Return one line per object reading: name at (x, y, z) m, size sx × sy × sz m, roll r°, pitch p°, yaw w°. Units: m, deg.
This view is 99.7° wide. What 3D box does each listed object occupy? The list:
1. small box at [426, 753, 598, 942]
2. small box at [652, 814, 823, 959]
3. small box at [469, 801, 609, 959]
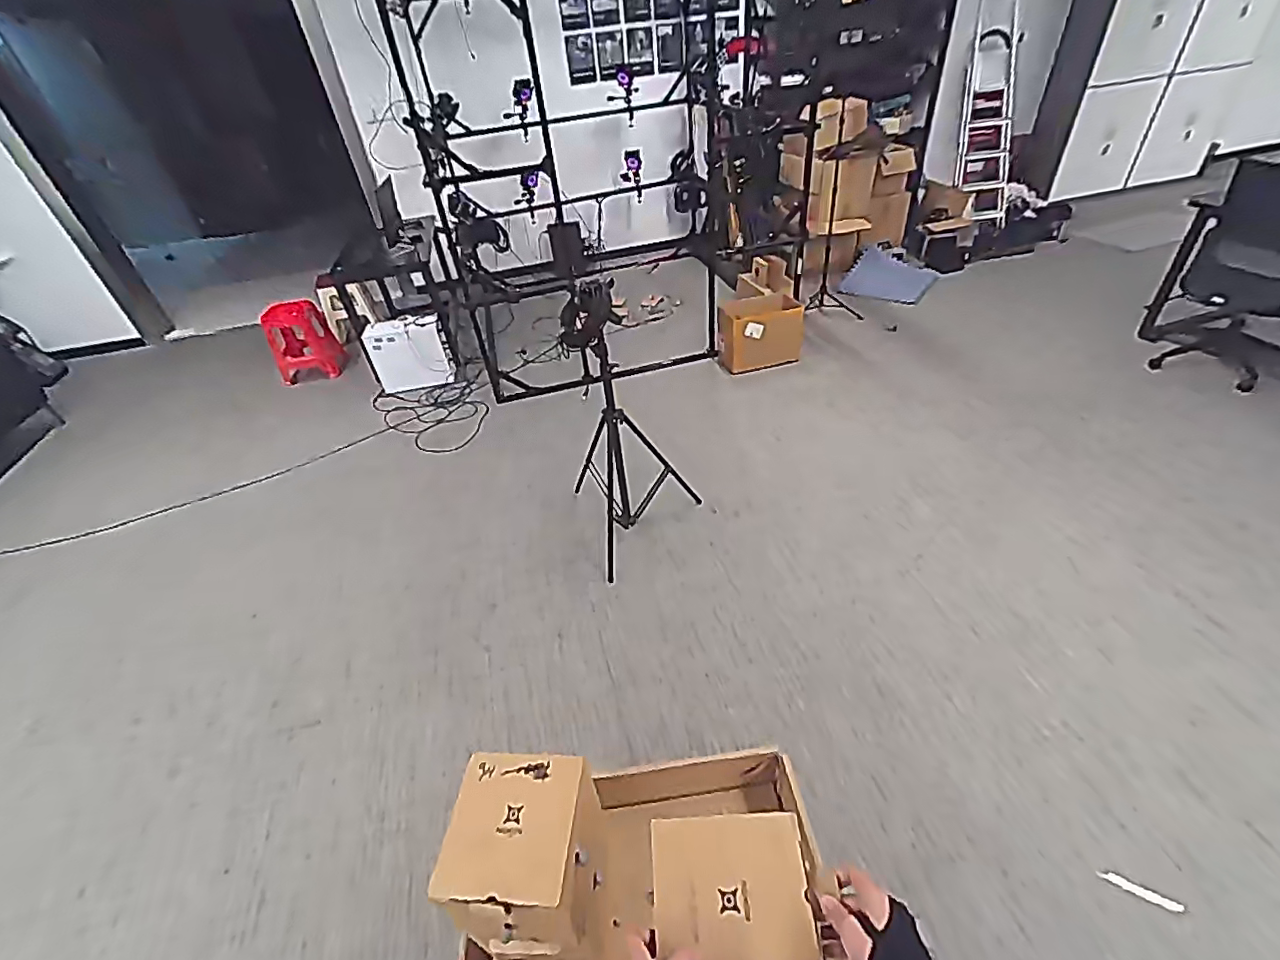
small box at (-0.159, 0.506, 0.746) m, size 0.168 × 0.176 × 0.179 m, roll -1°, pitch 39°, yaw 8°
small box at (0.107, 0.517, 0.651) m, size 0.179 × 0.176 × 0.168 m, roll -5°, pitch 46°, yaw 2°
small box at (-0.145, 0.632, 0.852) m, size 0.168 × 0.176 × 0.179 m, roll -3°, pitch 37°, yaw 5°
